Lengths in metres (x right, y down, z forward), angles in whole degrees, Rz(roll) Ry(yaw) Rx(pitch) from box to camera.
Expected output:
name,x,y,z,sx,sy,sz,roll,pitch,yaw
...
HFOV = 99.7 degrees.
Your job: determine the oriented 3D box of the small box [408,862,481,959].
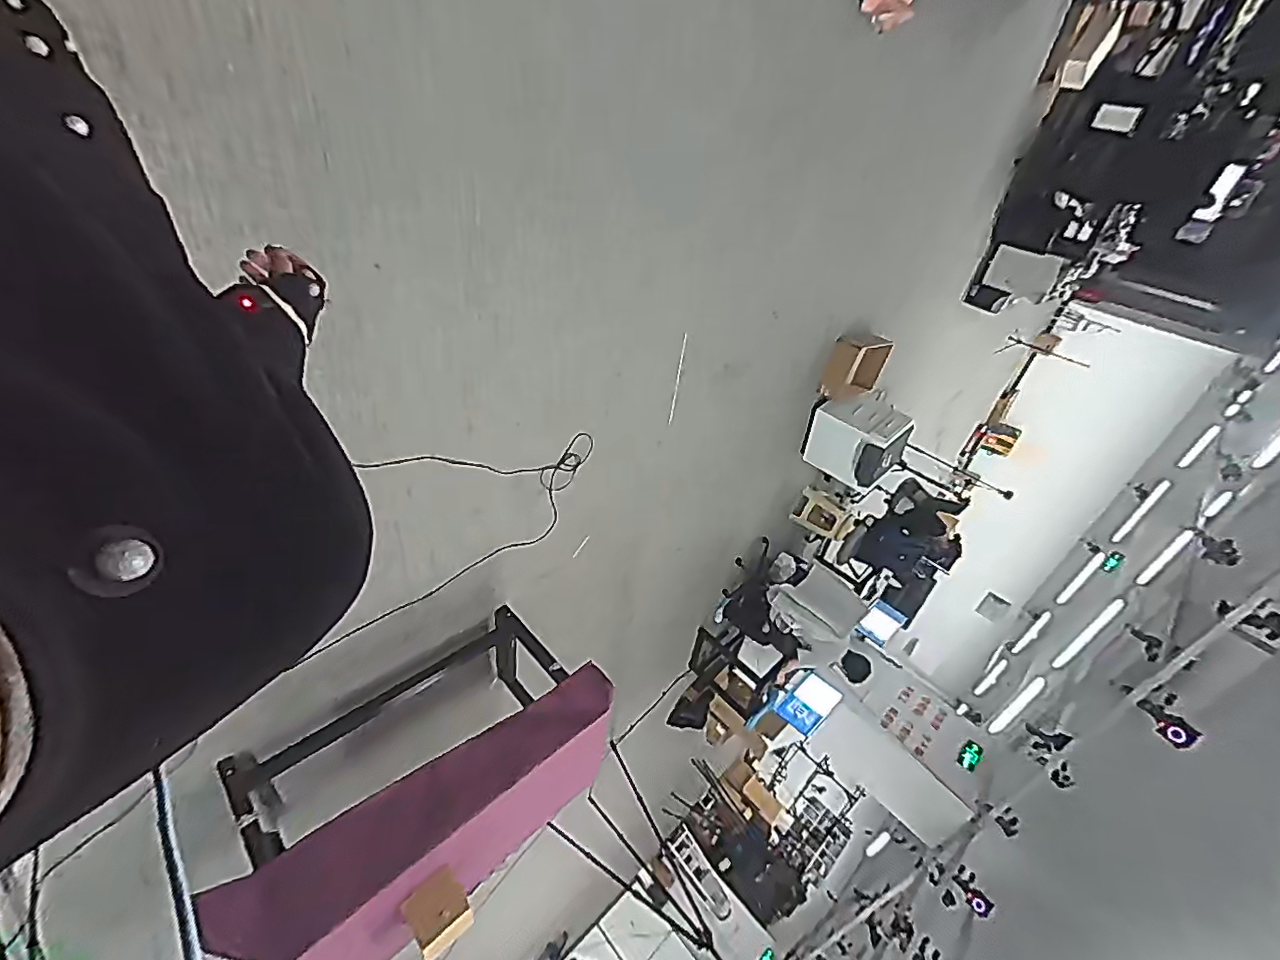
name,x,y,z,sx,sy,sz,roll,pitch,yaw
small box,-0.668,1.467,1.852,0.179,0.176,0.168,-24,138,-37
